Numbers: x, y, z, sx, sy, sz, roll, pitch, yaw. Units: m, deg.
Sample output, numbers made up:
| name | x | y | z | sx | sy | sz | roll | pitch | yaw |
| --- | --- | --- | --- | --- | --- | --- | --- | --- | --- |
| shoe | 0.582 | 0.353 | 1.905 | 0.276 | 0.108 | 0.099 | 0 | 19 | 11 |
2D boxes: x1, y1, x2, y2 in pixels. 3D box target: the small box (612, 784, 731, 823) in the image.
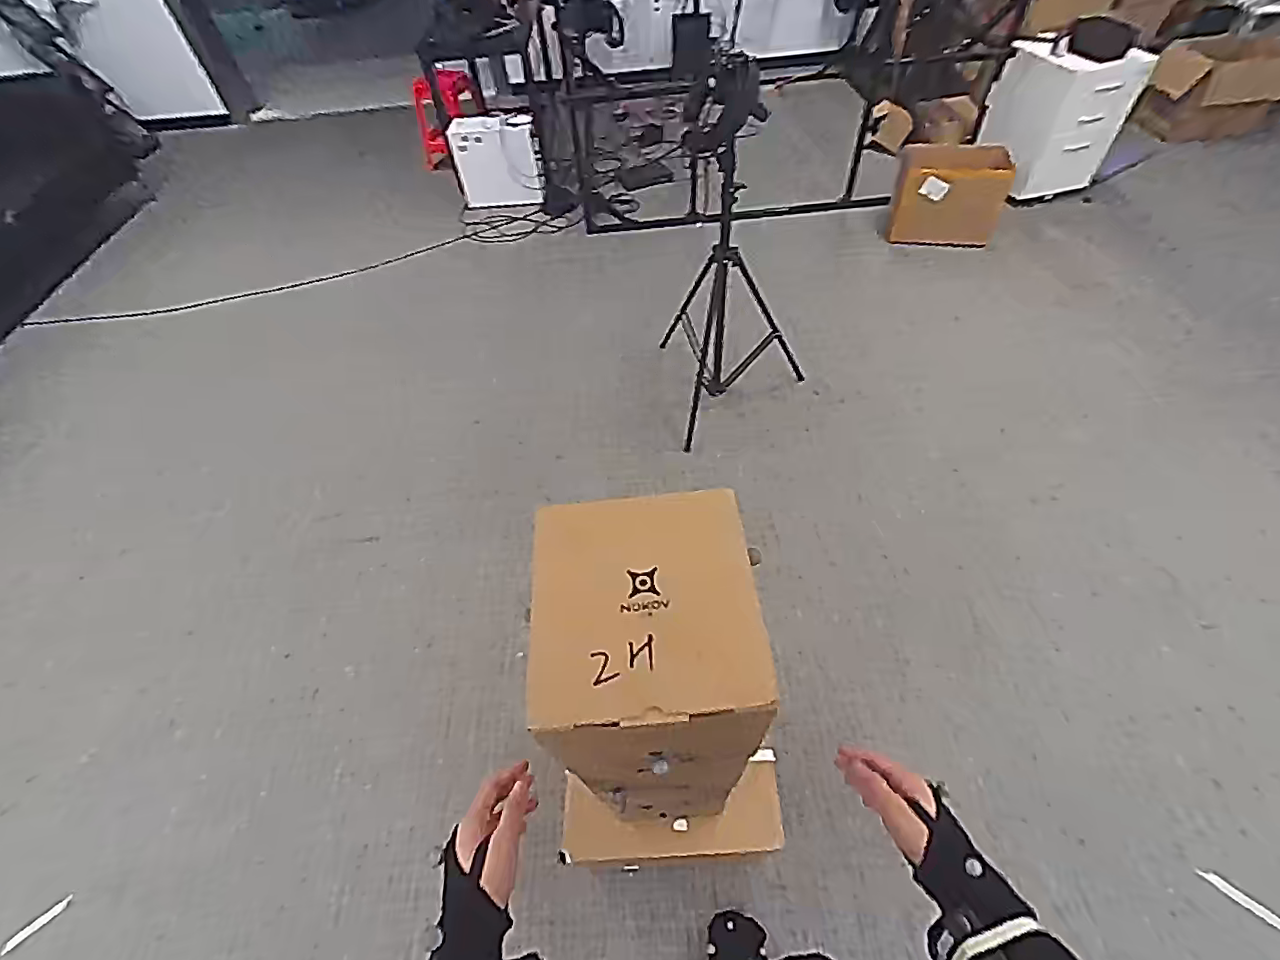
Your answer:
| name | x | y | z | sx | sy | sz | roll | pitch | yaw |
| --- | --- | --- | --- | --- | --- | --- | --- | --- | --- |
| small box | 0.044 | 0.426 | 0.854 | 0.168 | 0.176 | 0.179 | -6 | 53 | 1 |

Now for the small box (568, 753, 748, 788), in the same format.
| name | x | y | z | sx | sy | sz | roll | pitch | yaw |
| --- | --- | --- | --- | --- | --- | --- | --- | --- | --- |
| small box | 0.021 | 0.230 | 0.592 | 0.168 | 0.176 | 0.179 | -4 | 52 | 2 |

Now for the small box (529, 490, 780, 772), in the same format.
| name | x | y | z | sx | sy | sz | roll | pitch | yaw |
| --- | --- | --- | --- | --- | --- | --- | --- | --- | --- |
| small box | 0.010 | 0.132 | 0.460 | 0.168 | 0.176 | 0.179 | -6 | 53 | 1 |
